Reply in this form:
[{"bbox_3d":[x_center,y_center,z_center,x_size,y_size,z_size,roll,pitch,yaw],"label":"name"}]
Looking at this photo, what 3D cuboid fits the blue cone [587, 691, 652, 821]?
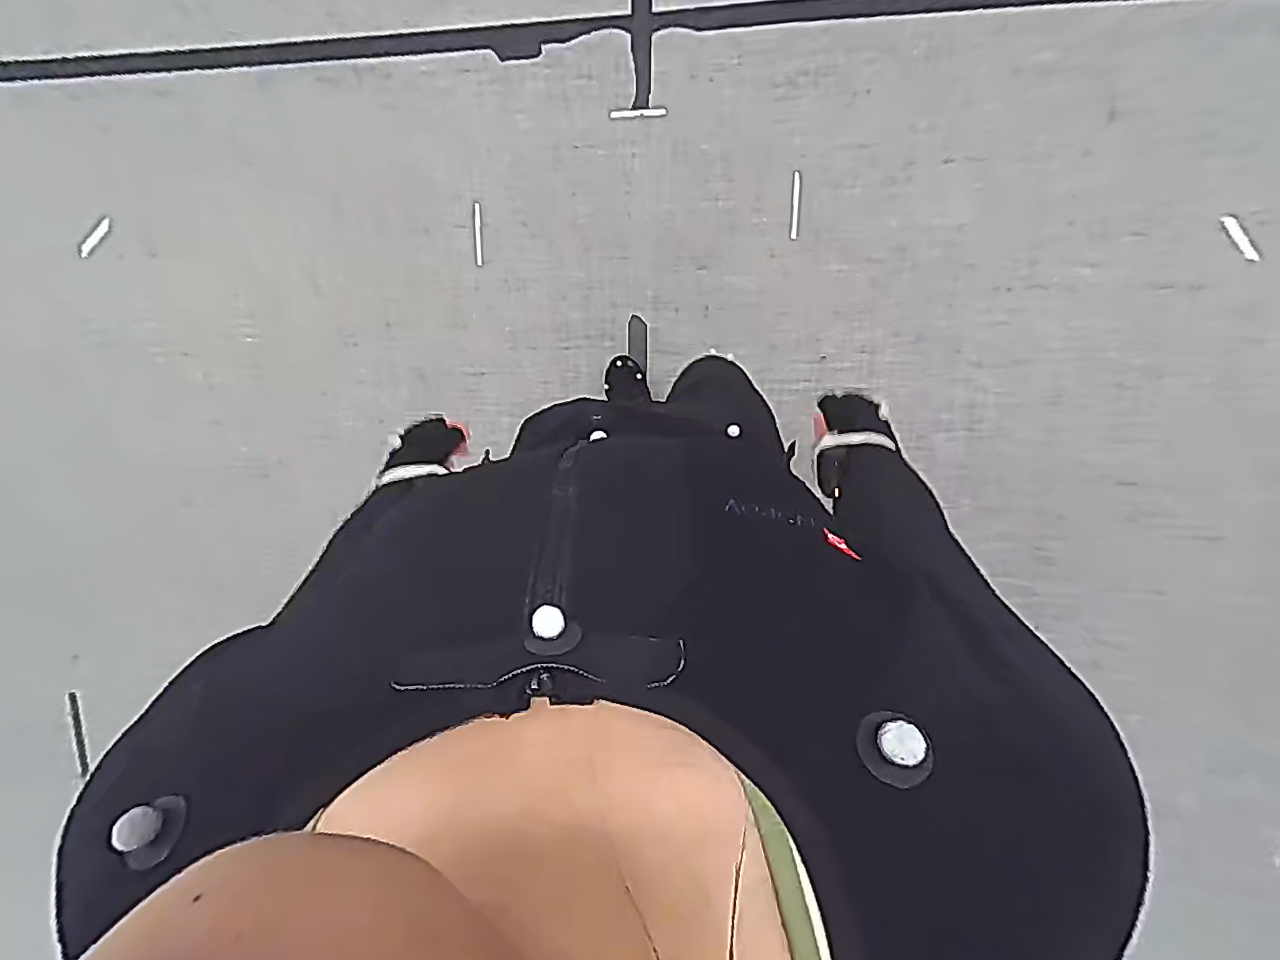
[{"bbox_3d":[-0.078,0.748,1.434,0.193,0.380,0.192,4,102,5],"label":"blue cone"}]
